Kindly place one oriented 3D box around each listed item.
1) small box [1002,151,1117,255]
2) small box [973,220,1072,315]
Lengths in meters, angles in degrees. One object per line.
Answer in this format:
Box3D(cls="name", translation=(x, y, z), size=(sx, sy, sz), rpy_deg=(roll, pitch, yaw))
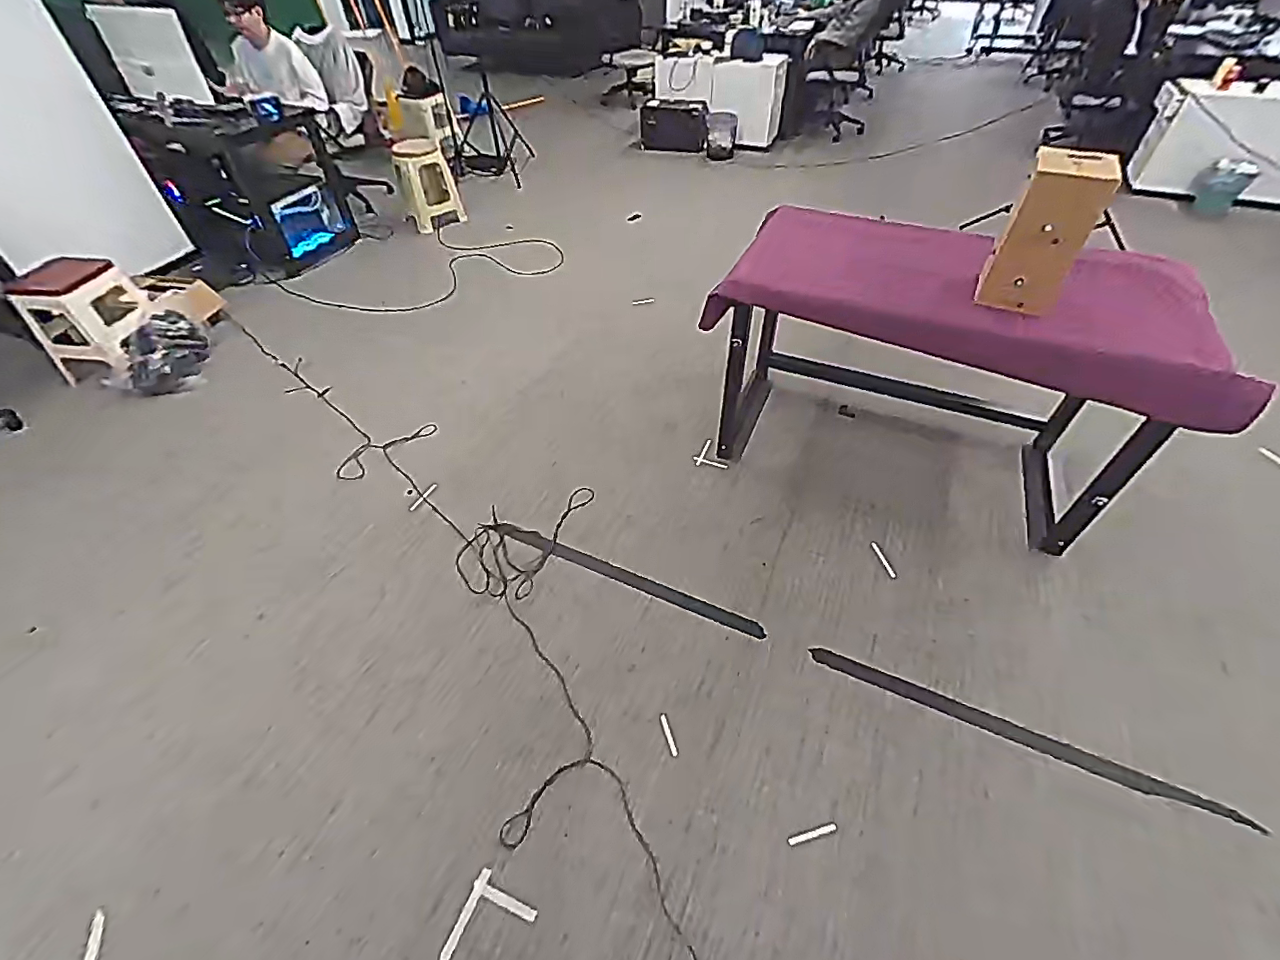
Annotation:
Box3D(cls="small box", translation=(1.011, -0.676, 1.317), size=(0.168, 0.176, 0.179), rpy_deg=(20, 51, 19))
Box3D(cls="small box", translation=(1.010, -0.562, 1.436), size=(0.168, 0.176, 0.179), rpy_deg=(20, 50, 19))
